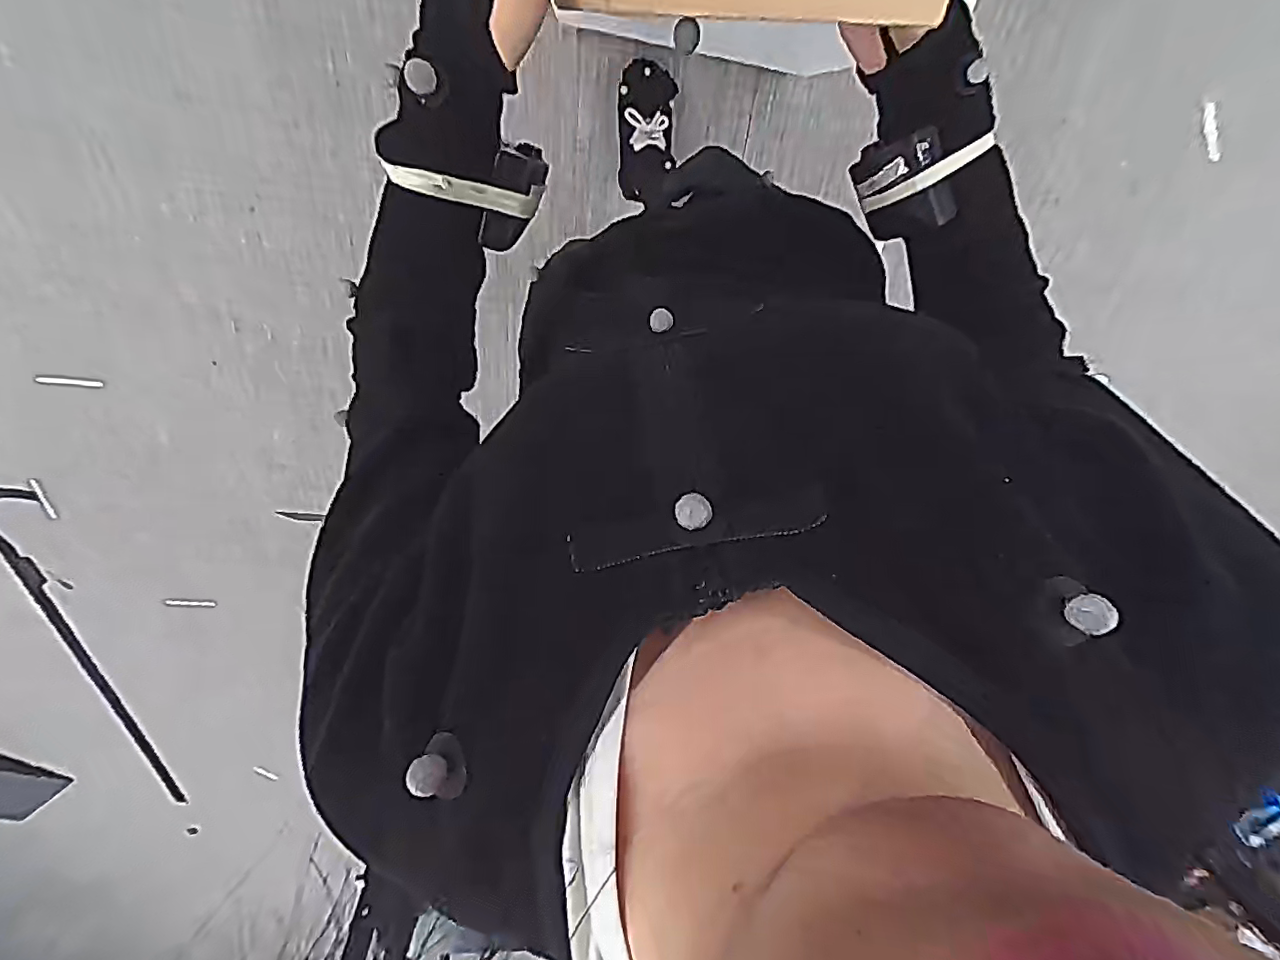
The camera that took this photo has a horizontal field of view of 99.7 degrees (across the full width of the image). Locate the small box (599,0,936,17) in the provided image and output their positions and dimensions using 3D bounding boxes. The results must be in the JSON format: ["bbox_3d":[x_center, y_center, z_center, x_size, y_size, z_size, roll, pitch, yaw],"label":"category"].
[{"bbox_3d":[0.048,-0.331,0.247,0.168,0.176,0.179,-8,131,-11],"label":"small box"}]
